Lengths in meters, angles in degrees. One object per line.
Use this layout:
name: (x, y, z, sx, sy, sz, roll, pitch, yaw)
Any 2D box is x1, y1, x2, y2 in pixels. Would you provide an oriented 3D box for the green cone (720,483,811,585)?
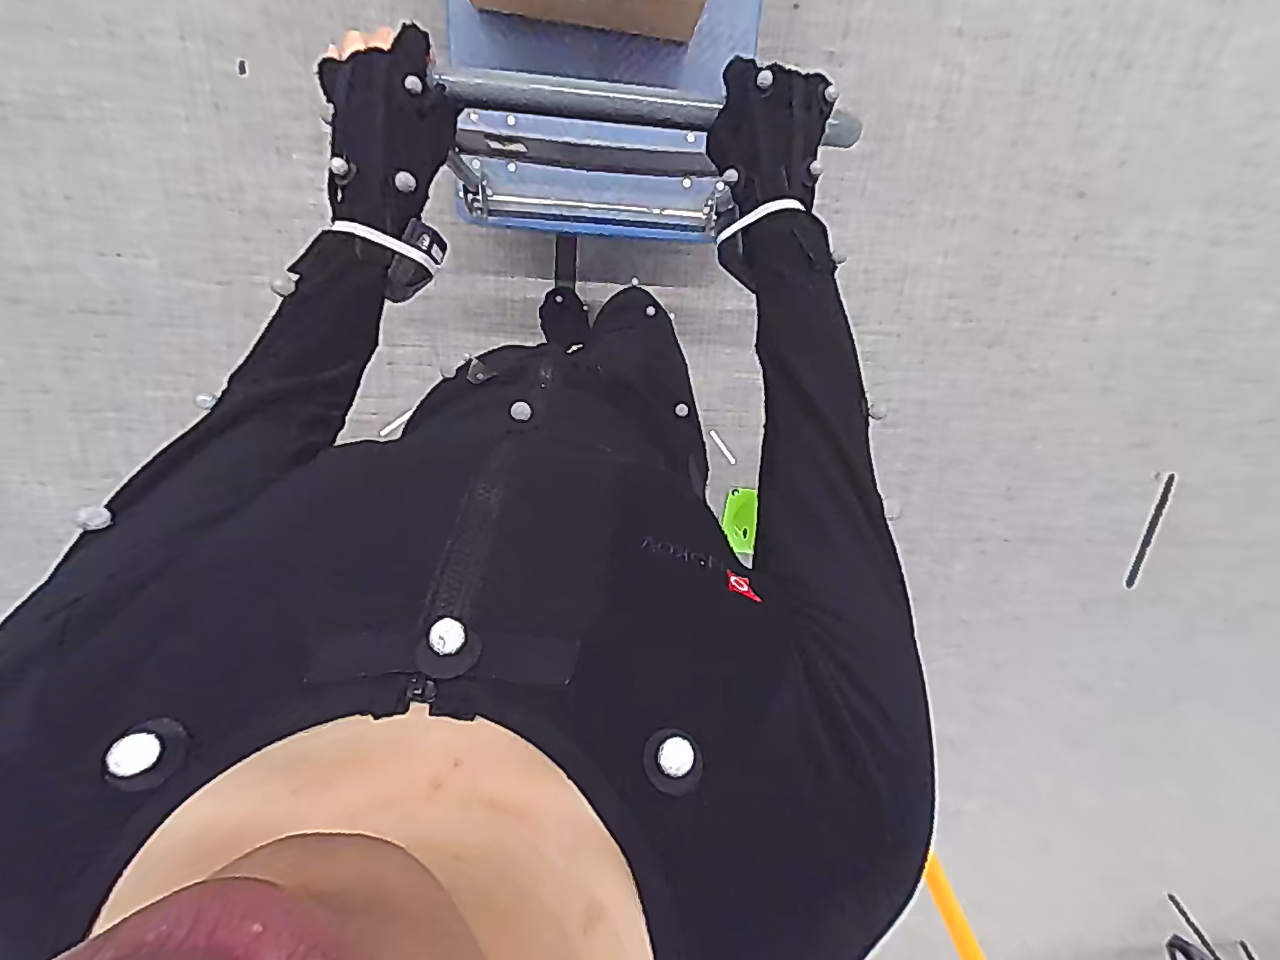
green cone: (0.358, 0.169, 1.424, 0.202, 0.368, 0.200, 5, 110, -7)

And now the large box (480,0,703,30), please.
large box: (-0.077, -0.947, 0.819, 0.408, 0.320, 0.320, 4, 110, -5)
